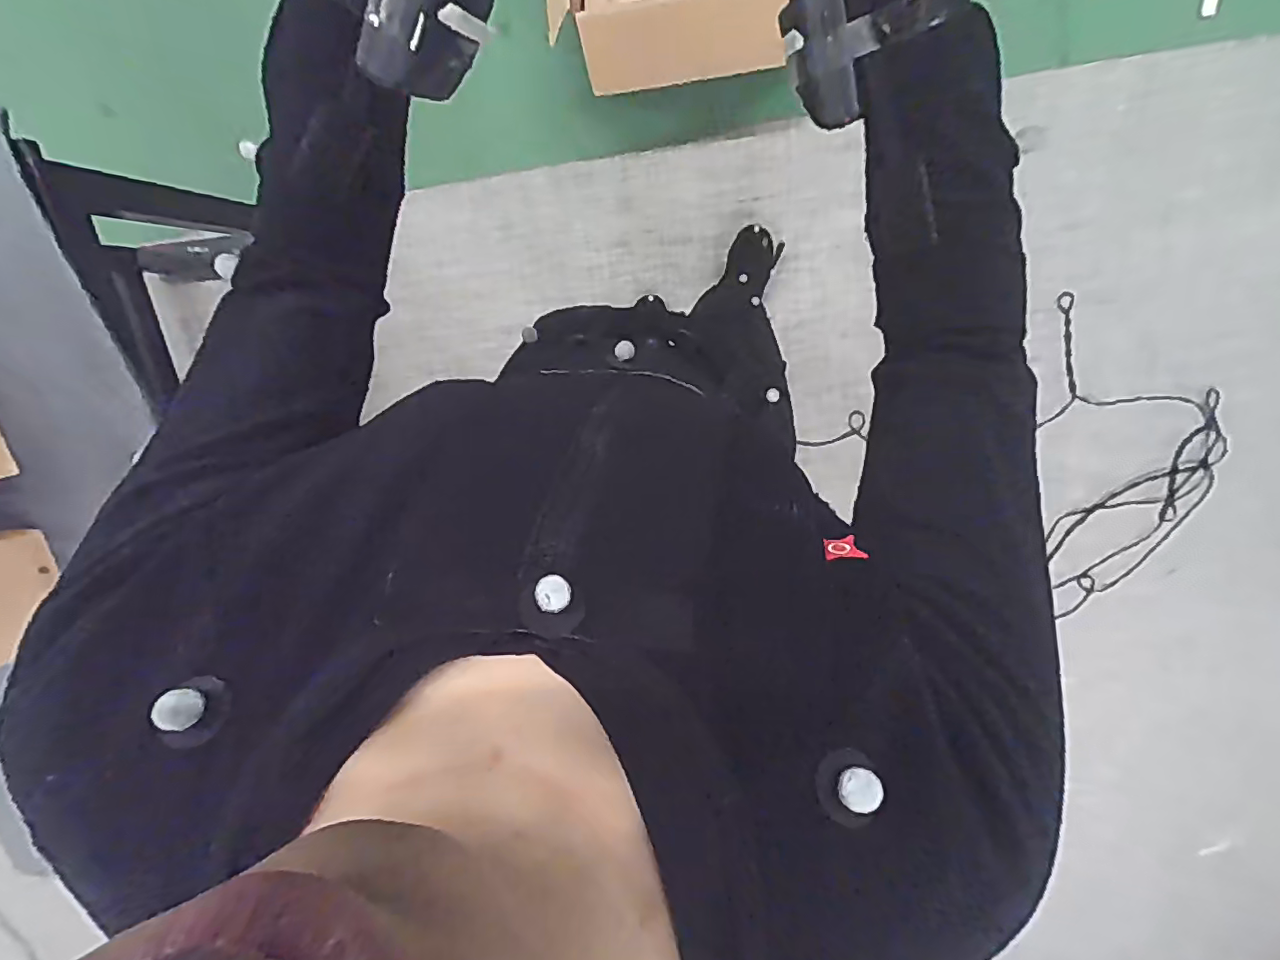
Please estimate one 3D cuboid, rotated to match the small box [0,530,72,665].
[{"bbox_3d":[-0.984,0.178,0.773,0.179,0.176,0.168,-3,108,6],"label":"small box"}]
